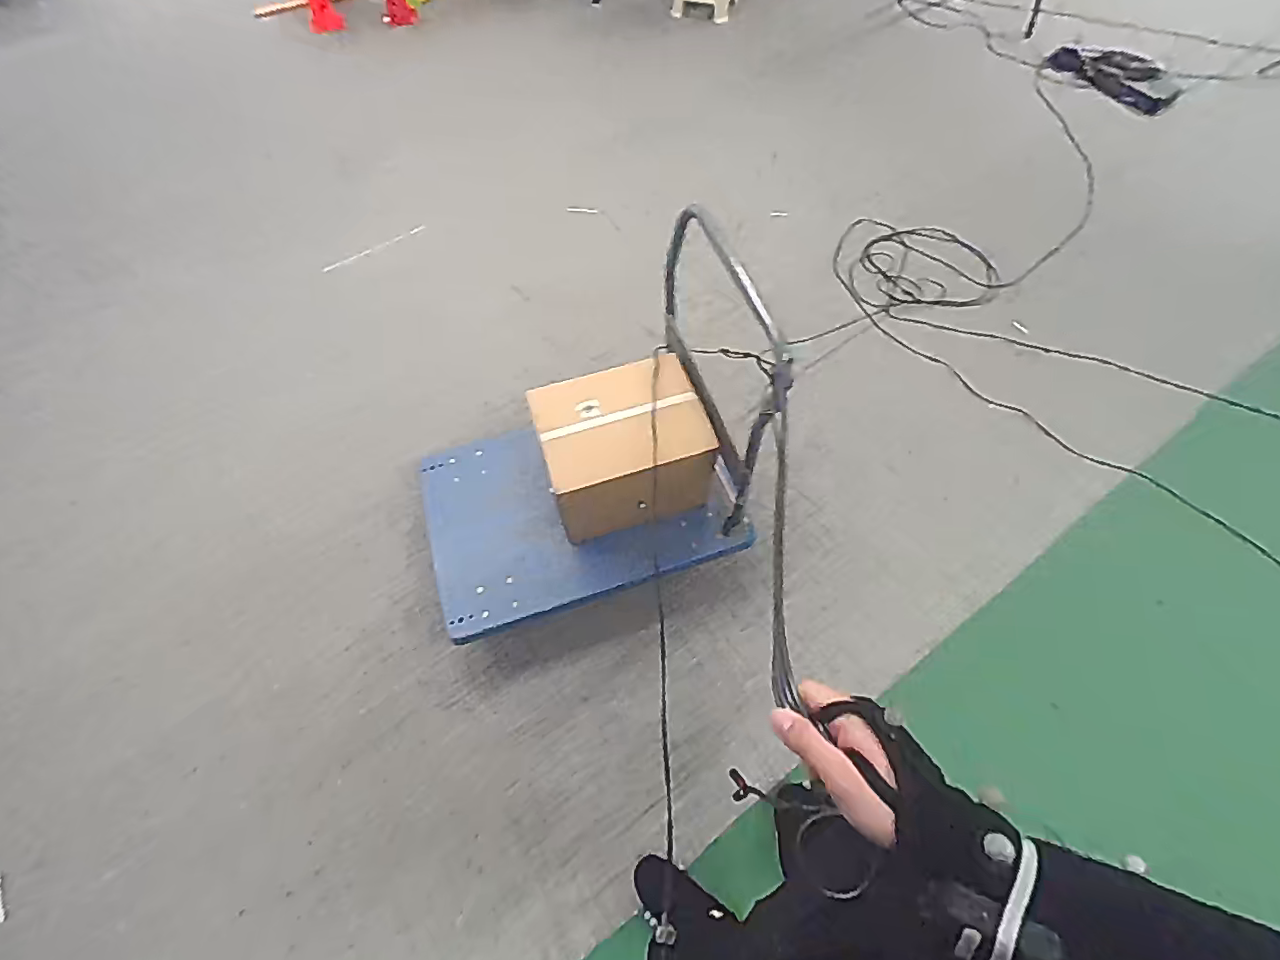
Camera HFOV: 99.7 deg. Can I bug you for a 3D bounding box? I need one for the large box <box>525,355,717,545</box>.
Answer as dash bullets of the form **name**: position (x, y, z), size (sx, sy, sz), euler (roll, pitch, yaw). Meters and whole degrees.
- **large box**: position (-0.048, -0.070, 1.433), size (0.408, 0.320, 0.320), euler (-17, 63, -8)
